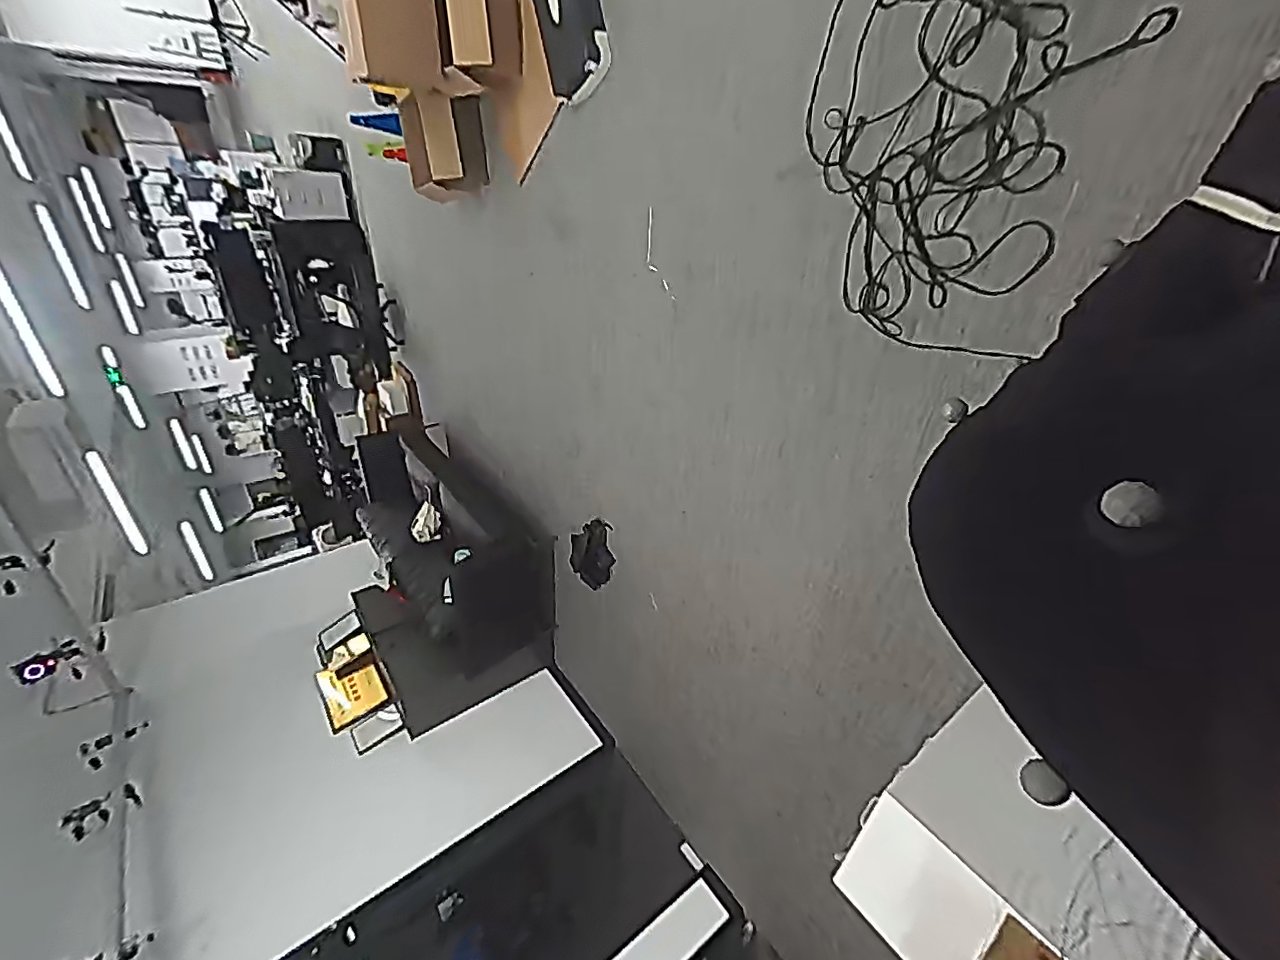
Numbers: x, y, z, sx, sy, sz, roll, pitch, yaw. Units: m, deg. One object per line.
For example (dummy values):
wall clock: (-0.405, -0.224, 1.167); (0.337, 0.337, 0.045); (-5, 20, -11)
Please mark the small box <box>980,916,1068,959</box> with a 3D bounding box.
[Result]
small box: (0.613, 0.856, 0.853); (0.168, 0.176, 0.179); (32, 131, 45)
